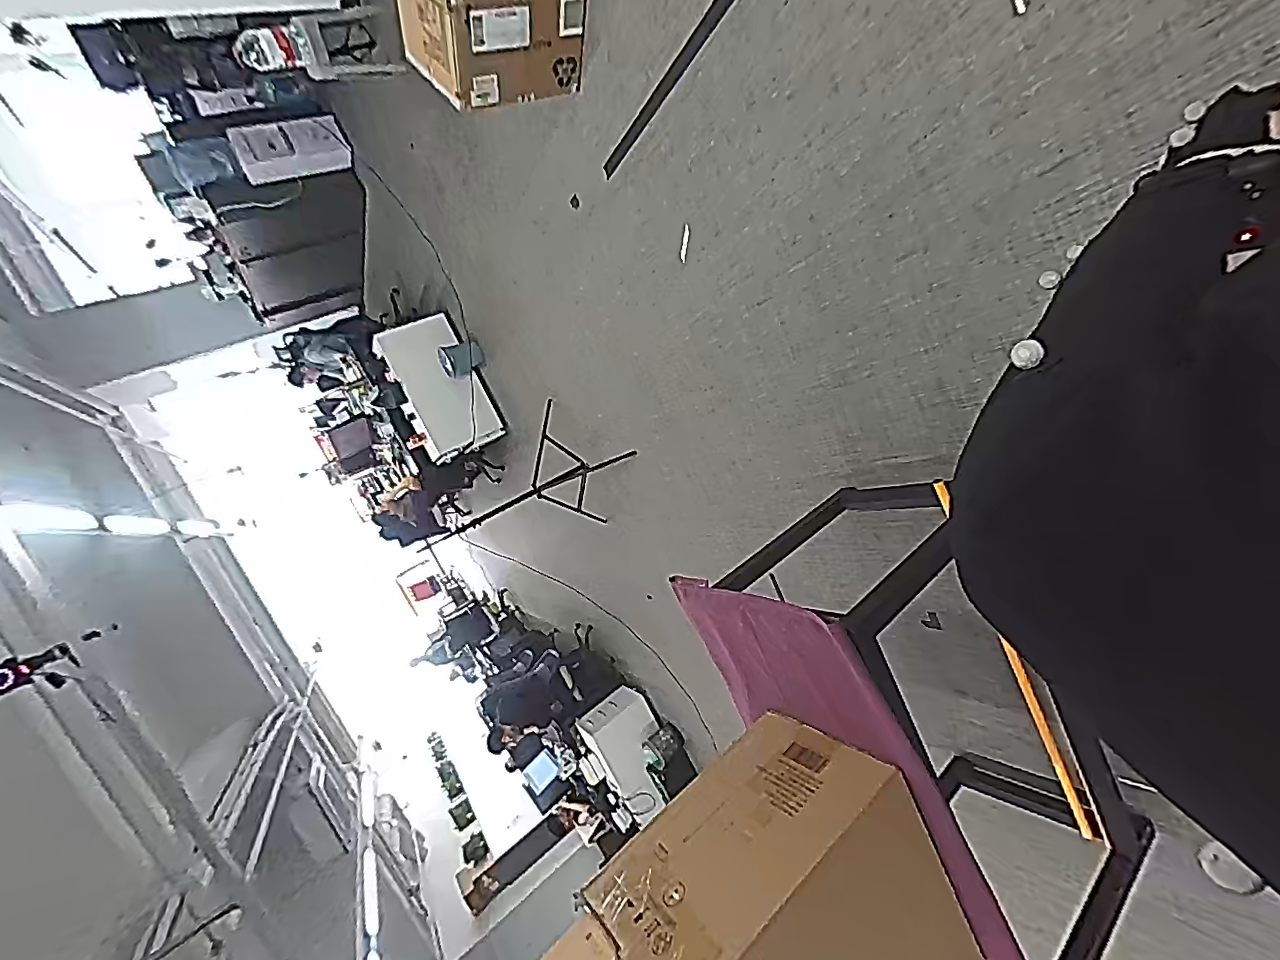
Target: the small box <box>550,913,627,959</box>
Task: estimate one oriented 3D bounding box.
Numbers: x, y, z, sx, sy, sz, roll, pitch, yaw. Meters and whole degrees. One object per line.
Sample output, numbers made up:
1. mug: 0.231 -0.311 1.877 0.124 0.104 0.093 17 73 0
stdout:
1. small box: -0.087 1.024 1.068 0.179 0.176 0.168 60 153 -5
